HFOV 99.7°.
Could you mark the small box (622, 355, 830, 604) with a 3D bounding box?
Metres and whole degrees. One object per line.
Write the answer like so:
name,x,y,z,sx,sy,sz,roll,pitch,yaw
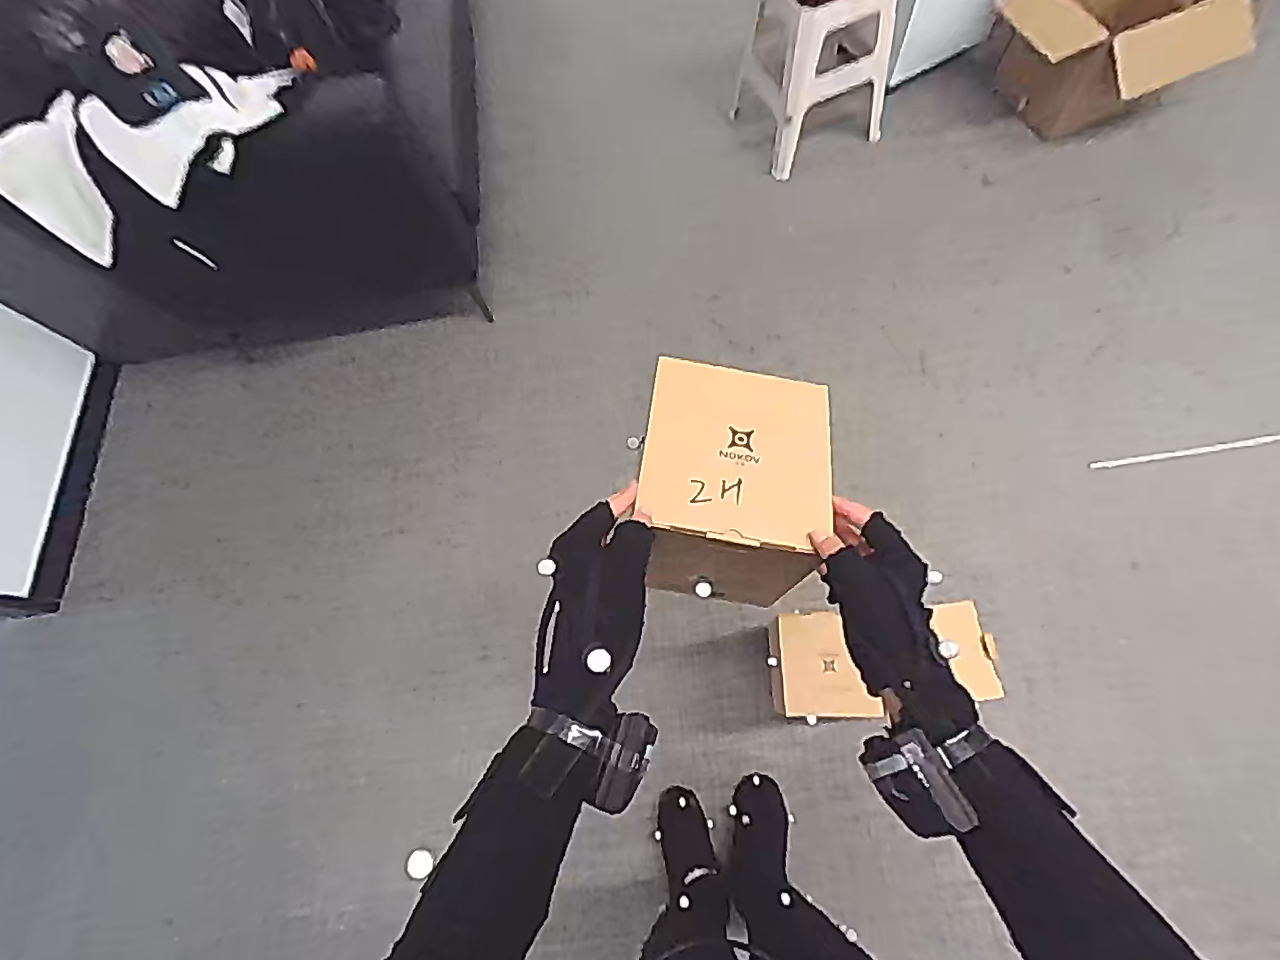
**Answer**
small box,0.077,0.008,0.541,0.168,0.176,0.179,10,63,-1
